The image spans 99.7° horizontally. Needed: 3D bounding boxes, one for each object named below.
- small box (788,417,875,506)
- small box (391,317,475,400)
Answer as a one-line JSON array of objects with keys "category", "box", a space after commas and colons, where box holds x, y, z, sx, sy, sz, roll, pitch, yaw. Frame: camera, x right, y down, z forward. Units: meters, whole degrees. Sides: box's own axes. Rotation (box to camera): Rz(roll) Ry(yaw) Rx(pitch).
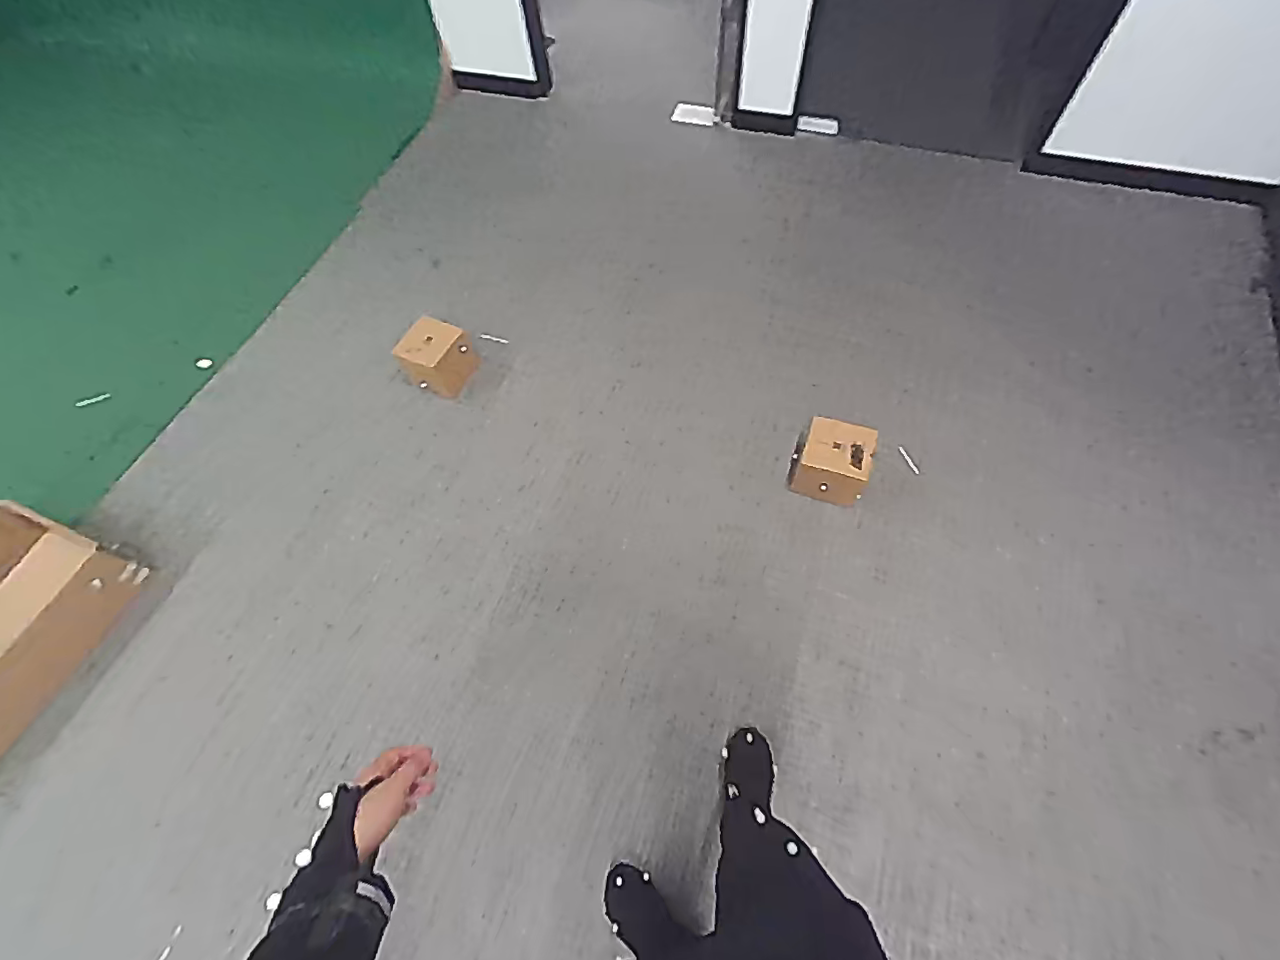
[{"category": "small box", "box": [0.533, -0.046, 1.523, 0.179, 0.176, 0.168, 17, 65, 13]}, {"category": "small box", "box": [-0.664, -0.395, 1.767, 0.168, 0.176, 0.179, 22, 66, 14]}]
